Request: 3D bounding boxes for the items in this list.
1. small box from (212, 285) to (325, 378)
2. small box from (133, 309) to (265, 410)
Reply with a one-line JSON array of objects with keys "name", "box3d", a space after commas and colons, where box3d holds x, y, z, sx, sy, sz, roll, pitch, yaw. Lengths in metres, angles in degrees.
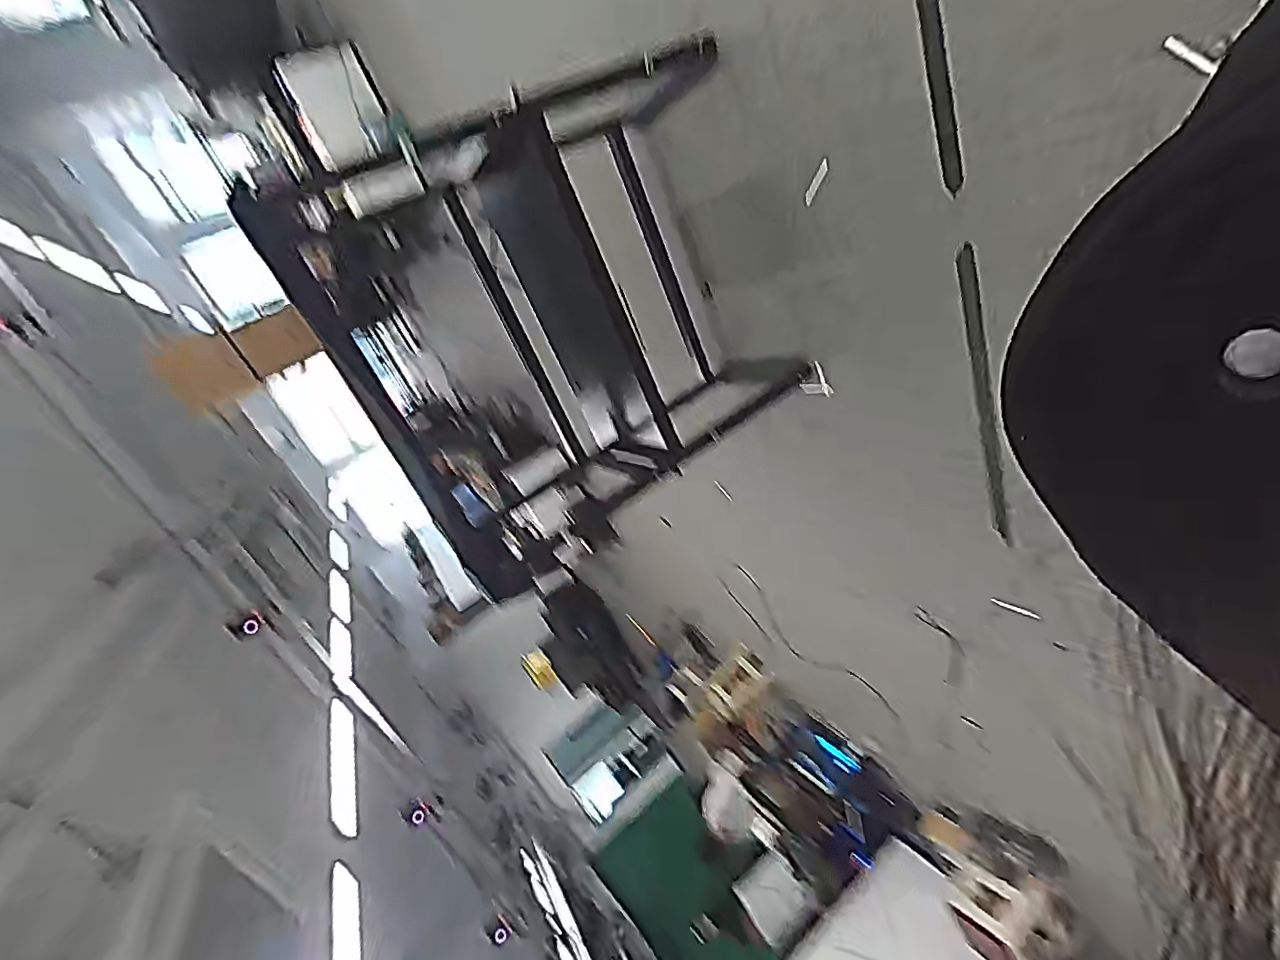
[{"name": "small box", "box3d": [-0.922, -0.373, 1.361, 0.179, 0.176, 0.168, 22, 142, 58]}, {"name": "small box", "box3d": [-1.048, -0.285, 1.295, 0.168, 0.176, 0.179, 17, 136, 62]}]
